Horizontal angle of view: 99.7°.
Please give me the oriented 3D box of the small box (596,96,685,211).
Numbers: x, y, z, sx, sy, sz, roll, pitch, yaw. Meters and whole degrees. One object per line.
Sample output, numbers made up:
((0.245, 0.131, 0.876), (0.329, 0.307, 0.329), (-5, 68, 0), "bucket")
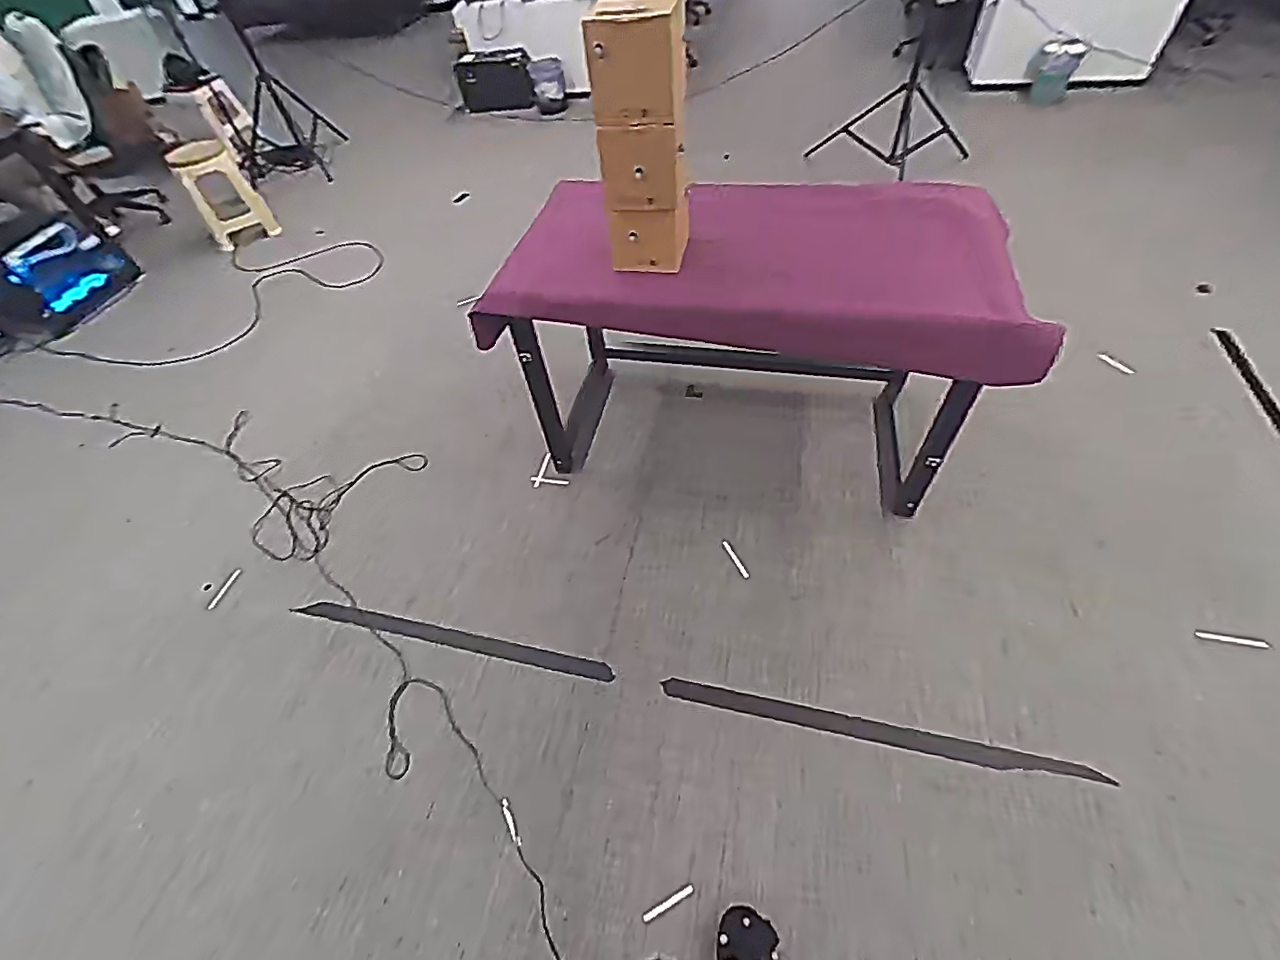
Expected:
((0.009, -0.712, 1.188), (0.168, 0.176, 0.179), (3, 53, 8), "small box")

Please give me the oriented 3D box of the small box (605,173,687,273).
((0.024, -0.629, 1.330), (0.168, 0.176, 0.179), (7, 53, 11), "small box")
